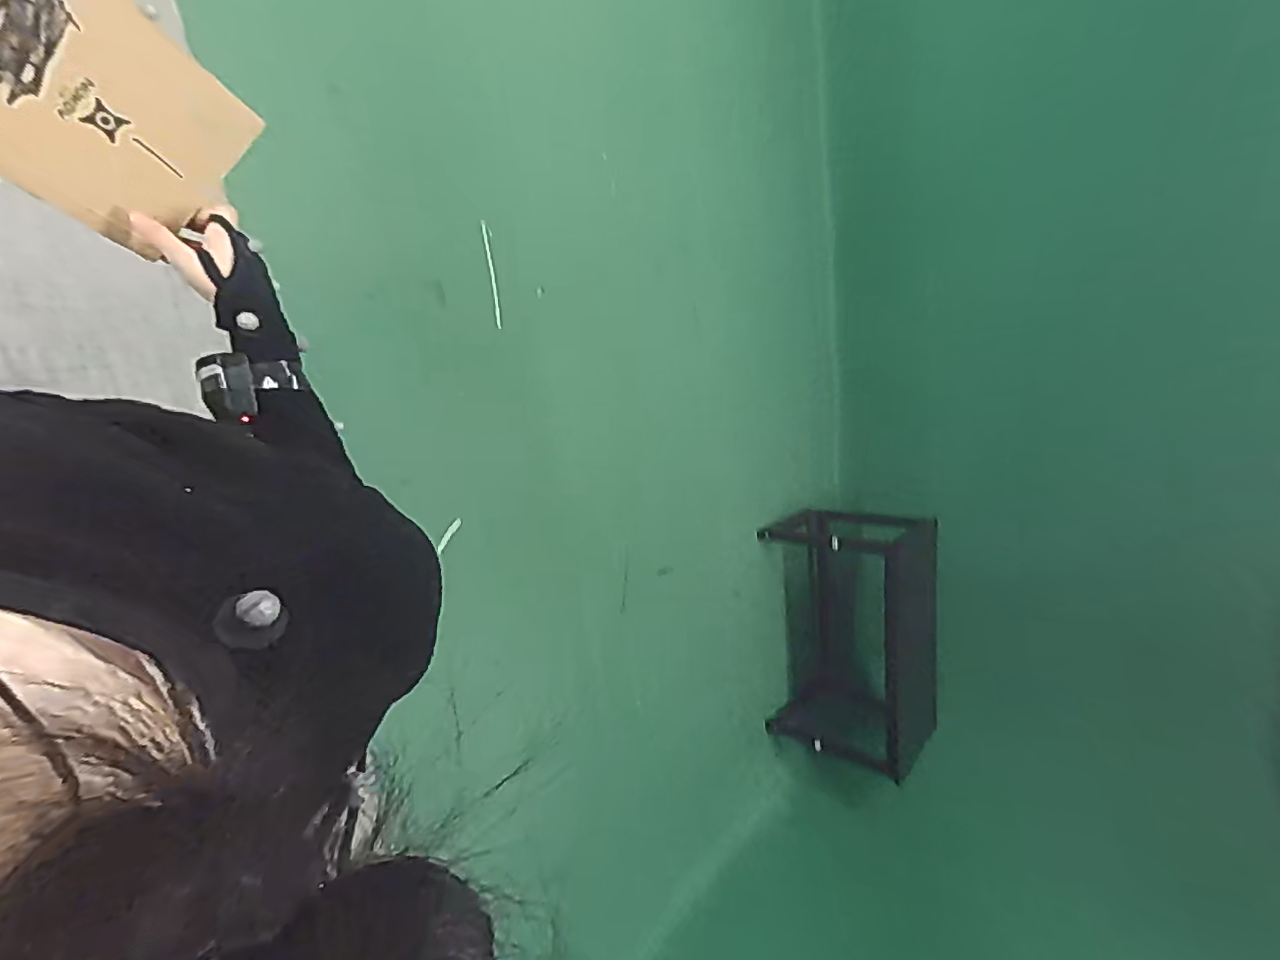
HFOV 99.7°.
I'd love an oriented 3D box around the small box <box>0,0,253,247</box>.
[{"bbox_3d":[-0.474,-0.331,0.430,0.168,0.176,0.179,-52,155,0],"label":"small box"}]
